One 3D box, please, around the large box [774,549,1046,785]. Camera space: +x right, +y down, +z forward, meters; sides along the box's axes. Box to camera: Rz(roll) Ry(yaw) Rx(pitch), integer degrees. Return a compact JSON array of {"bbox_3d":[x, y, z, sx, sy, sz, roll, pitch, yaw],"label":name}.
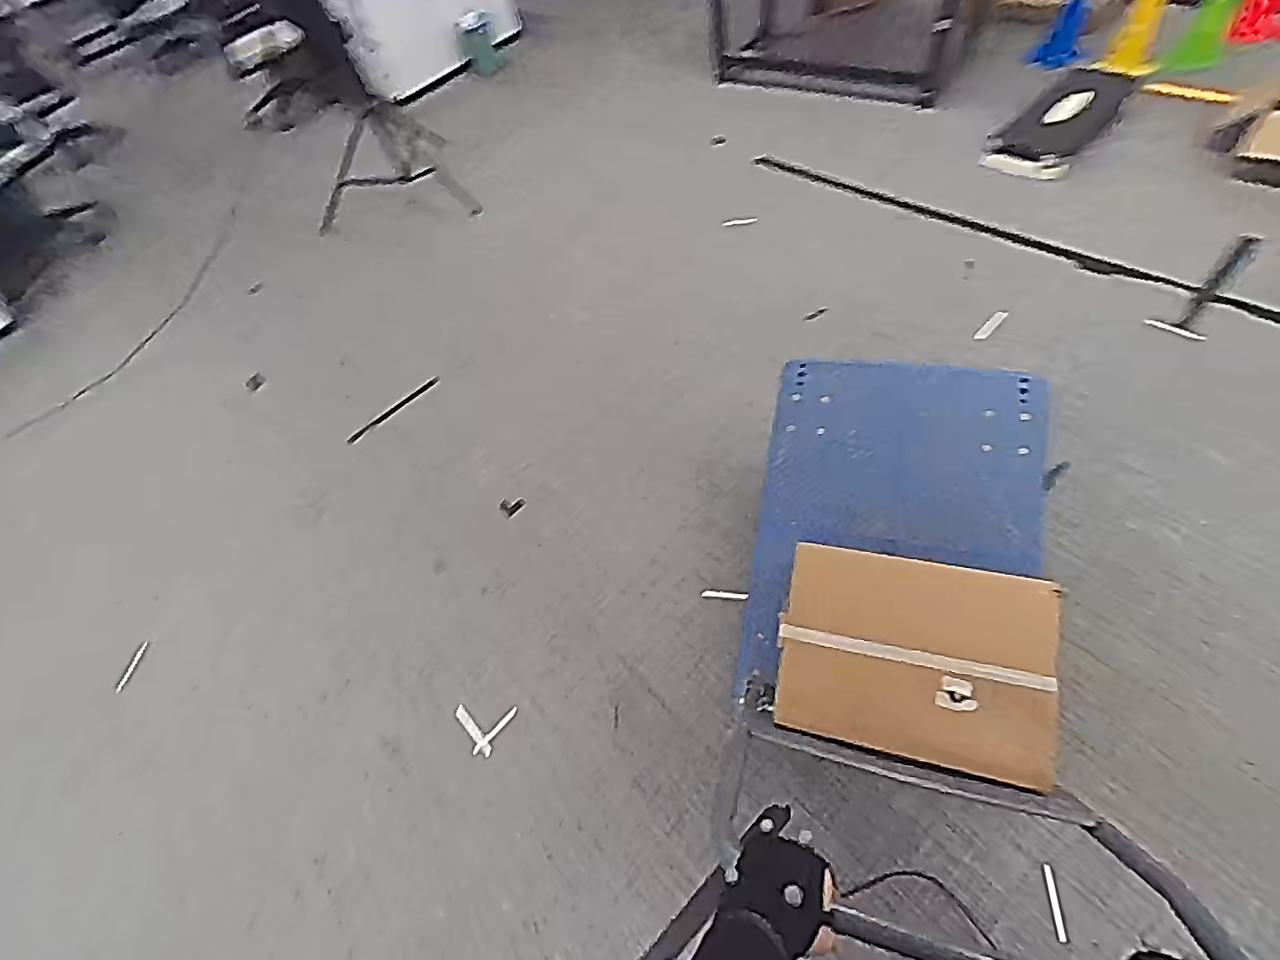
[{"bbox_3d":[0.478,0.331,1.041,0.408,0.320,0.320,8,79,16],"label":"large box"}]
